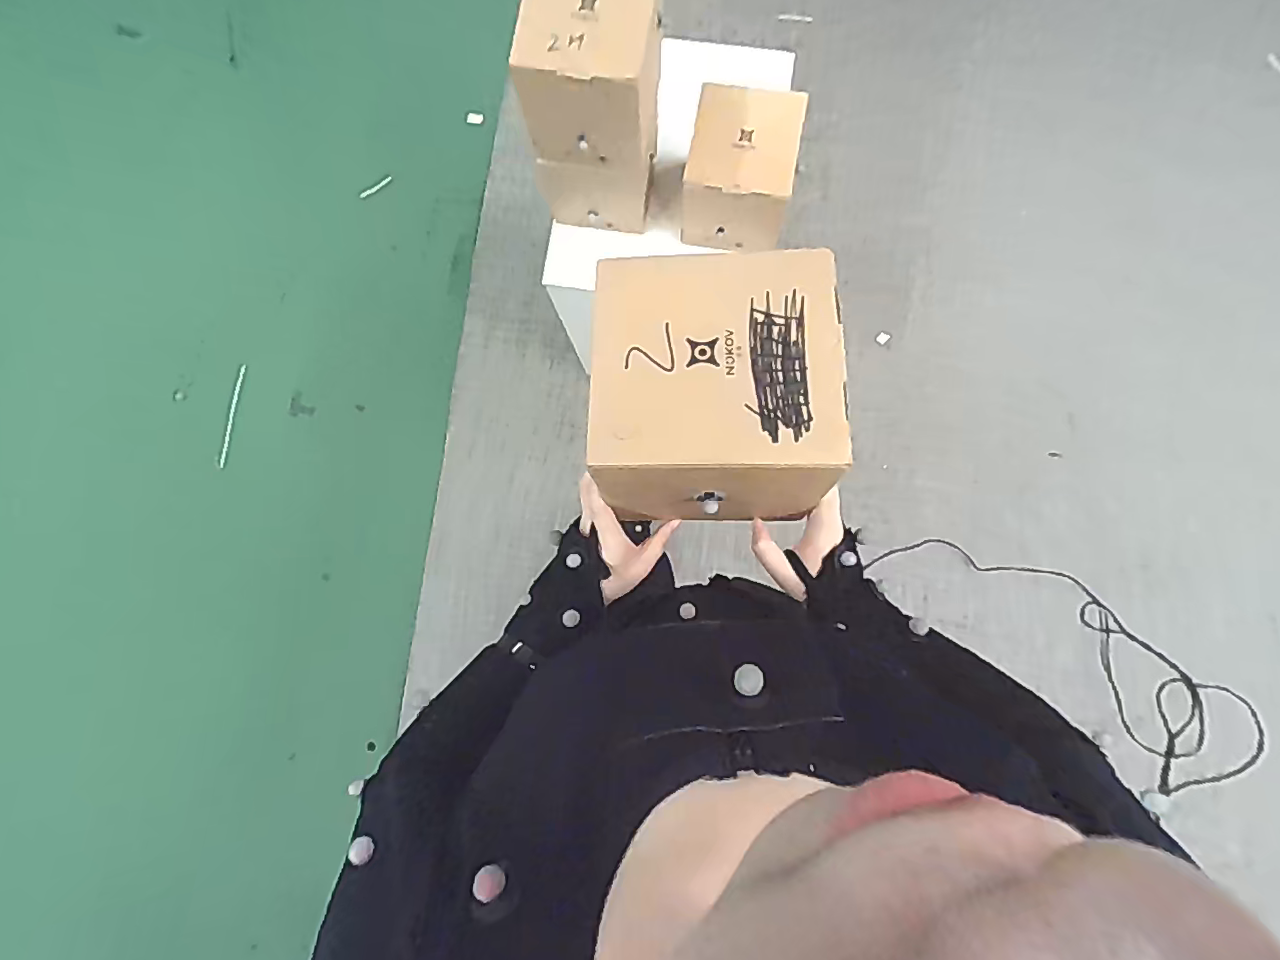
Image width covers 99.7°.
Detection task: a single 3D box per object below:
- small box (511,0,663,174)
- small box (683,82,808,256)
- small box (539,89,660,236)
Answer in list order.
[{"bbox_3d":[-0.063,-0.569,0.751,0.168,0.176,0.179,10,84,4],"label":"small box"},{"bbox_3d":[0.166,-0.507,0.900,0.168,0.176,0.179,10,85,5],"label":"small box"},{"bbox_3d":[-0.061,-0.548,0.915,0.168,0.176,0.179,9,85,3],"label":"small box"}]
